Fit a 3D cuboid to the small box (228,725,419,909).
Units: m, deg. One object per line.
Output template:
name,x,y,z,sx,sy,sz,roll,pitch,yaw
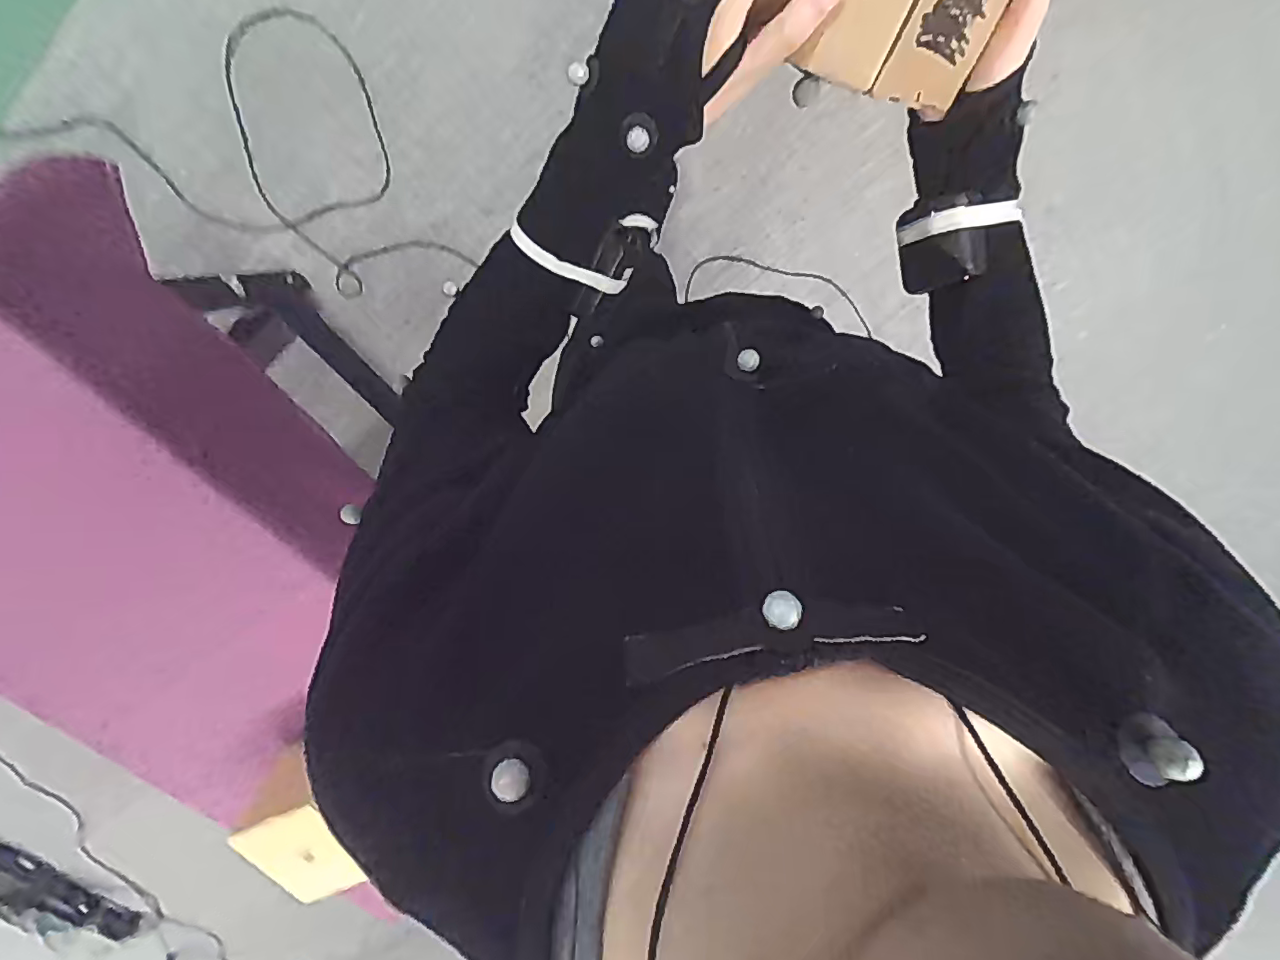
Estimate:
small box,-0.499,0.545,0.886,0.168,0.176,0.179,-27,109,10
